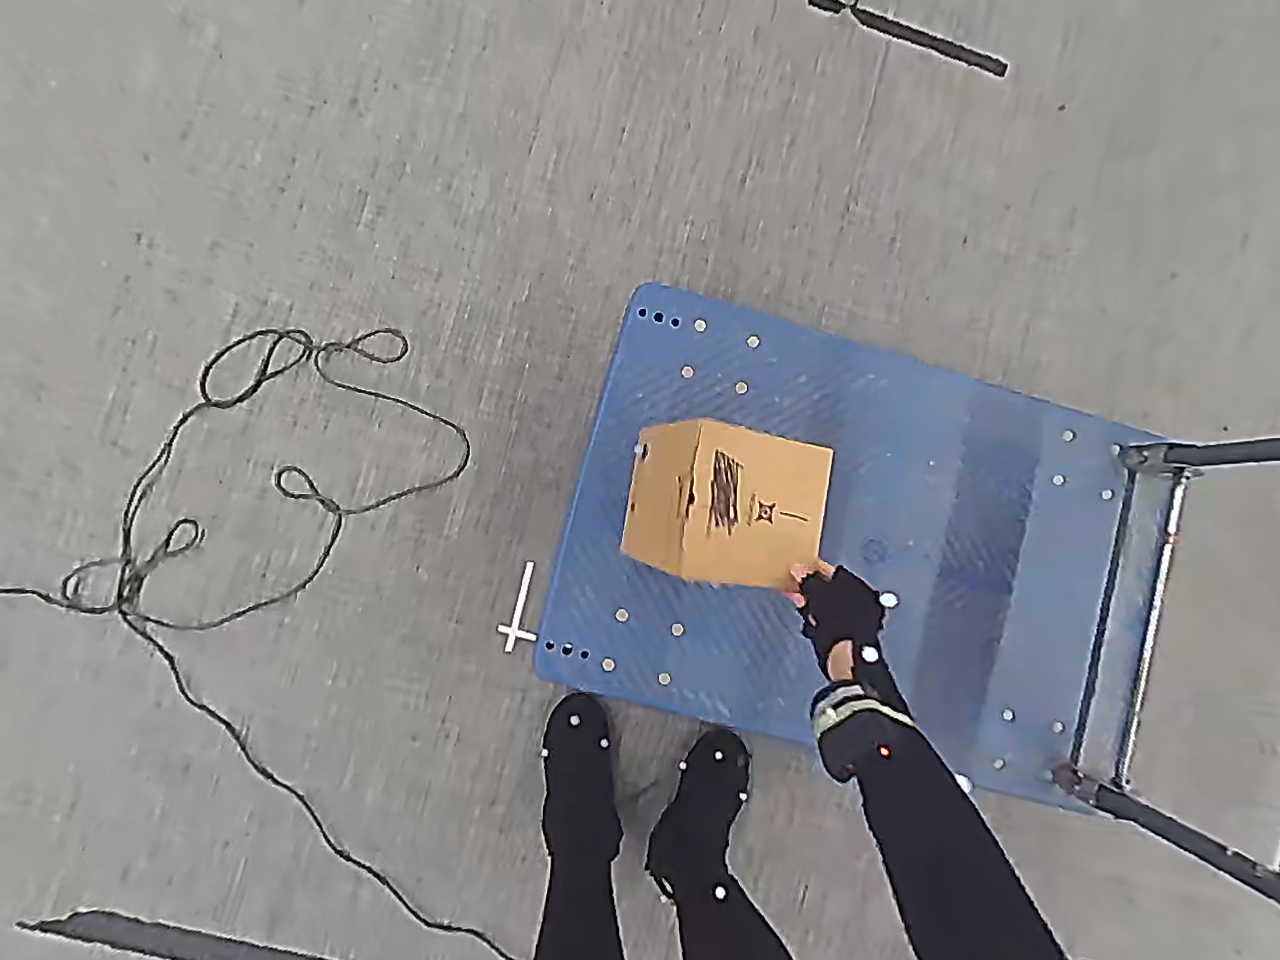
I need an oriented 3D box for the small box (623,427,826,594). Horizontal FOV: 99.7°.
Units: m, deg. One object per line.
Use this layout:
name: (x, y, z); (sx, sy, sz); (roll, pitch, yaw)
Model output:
small box: (0.093, 0.037, 0.656); (0.179, 0.176, 0.168); (8, 88, -24)
